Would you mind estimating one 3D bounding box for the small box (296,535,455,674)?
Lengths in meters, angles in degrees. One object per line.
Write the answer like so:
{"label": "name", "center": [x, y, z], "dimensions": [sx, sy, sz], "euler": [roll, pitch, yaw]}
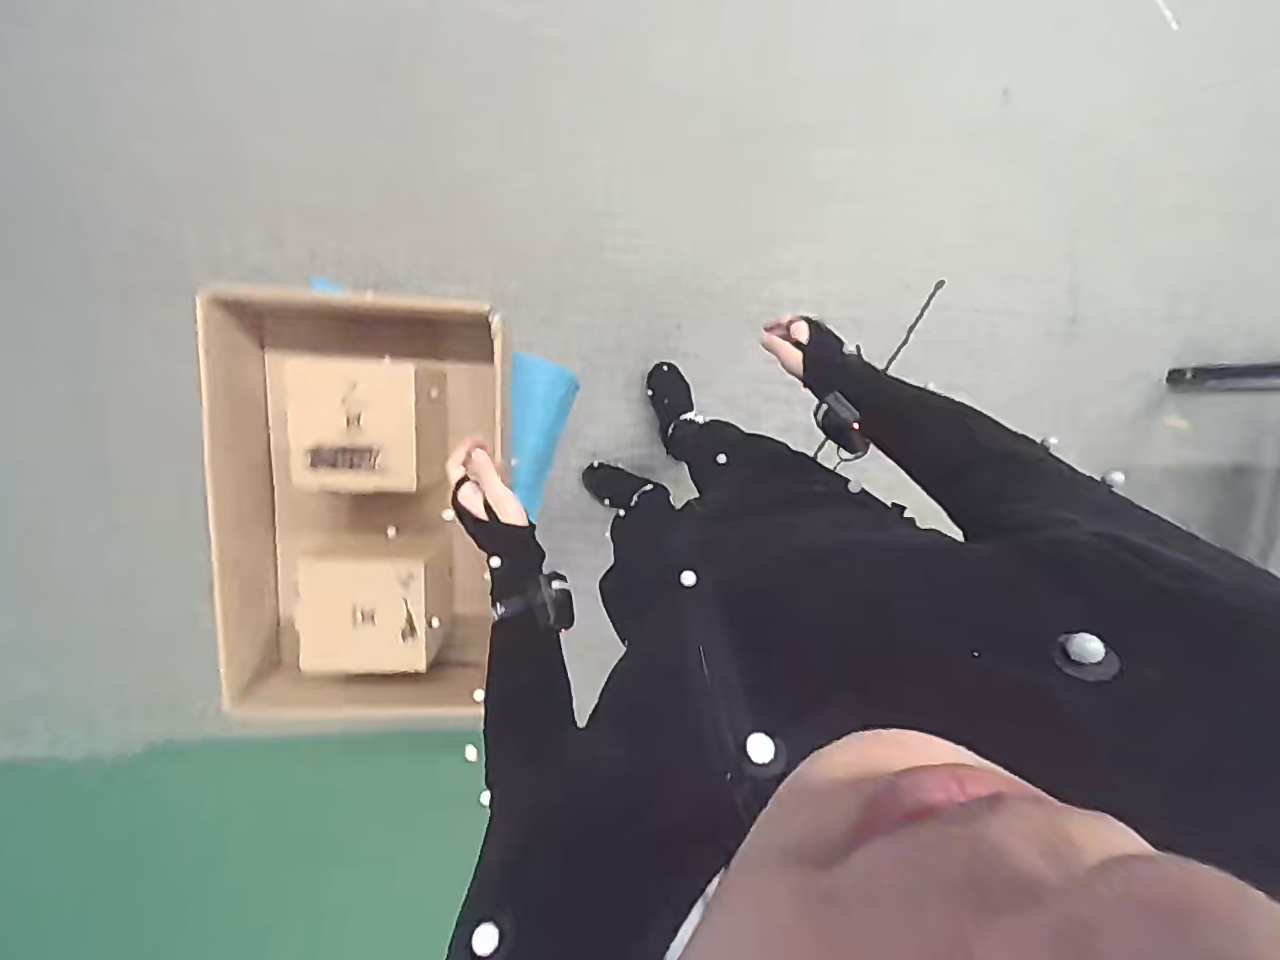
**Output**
{"label": "small box", "center": [-0.400, 0.186, 0.844], "dimensions": [0.179, 0.176, 0.168], "euler": [2, 98, -5]}
